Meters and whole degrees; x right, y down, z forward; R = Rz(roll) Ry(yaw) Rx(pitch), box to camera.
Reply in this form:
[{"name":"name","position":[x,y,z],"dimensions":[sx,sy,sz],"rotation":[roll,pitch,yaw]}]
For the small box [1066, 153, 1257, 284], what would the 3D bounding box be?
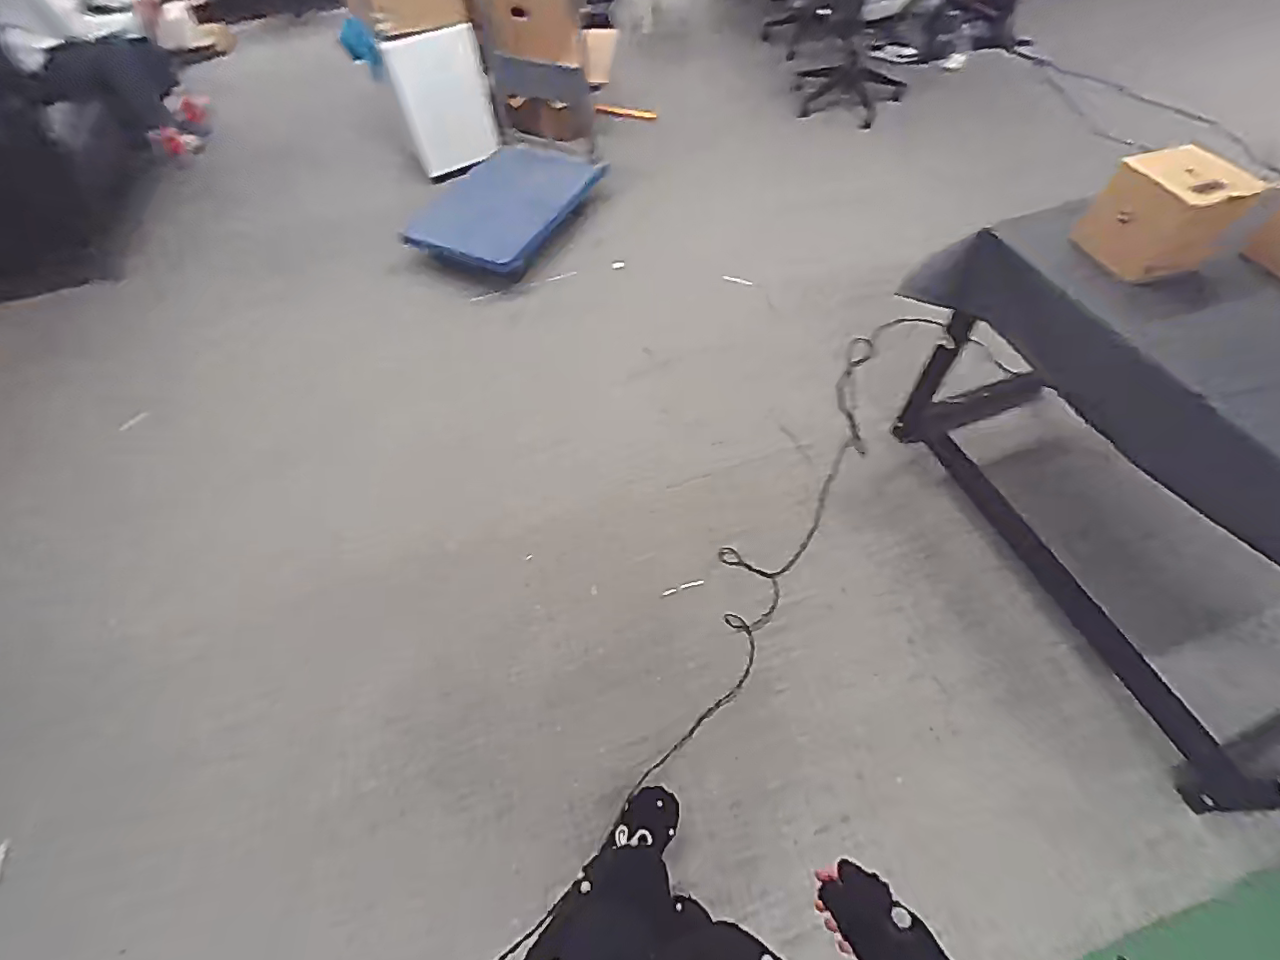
[{"name":"small box","position":[1.022,-0.513,1.080],"dimensions":[0.168,0.176,0.179],"rotation":[-15,57,-7]}]
